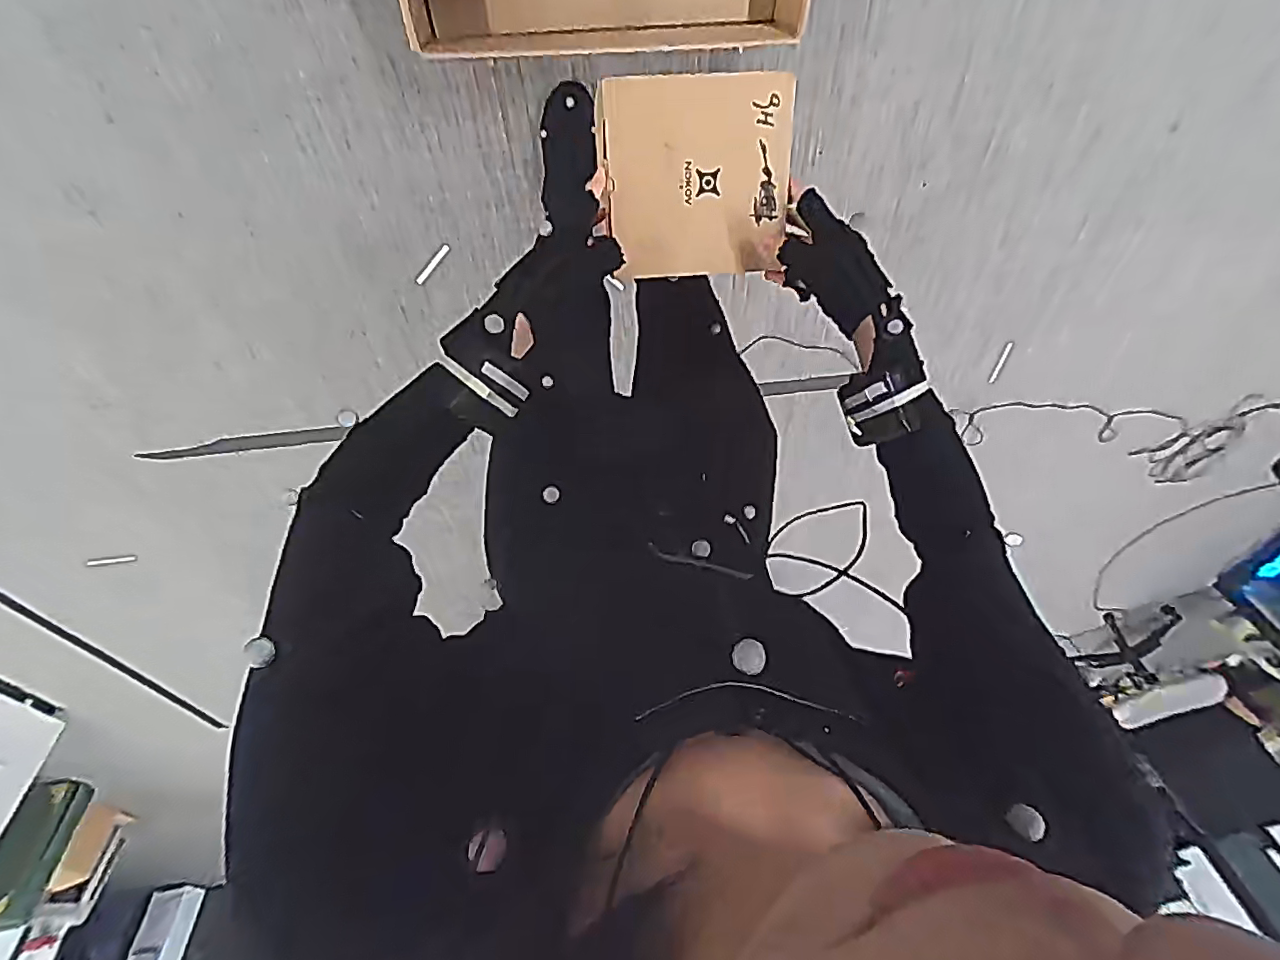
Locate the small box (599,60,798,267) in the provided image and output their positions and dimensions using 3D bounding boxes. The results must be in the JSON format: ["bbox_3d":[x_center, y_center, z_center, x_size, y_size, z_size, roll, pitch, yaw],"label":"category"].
[{"bbox_3d":[0.050,-0.324,0.575,0.179,0.176,0.168,-5,118,-3],"label":"small box"}]
